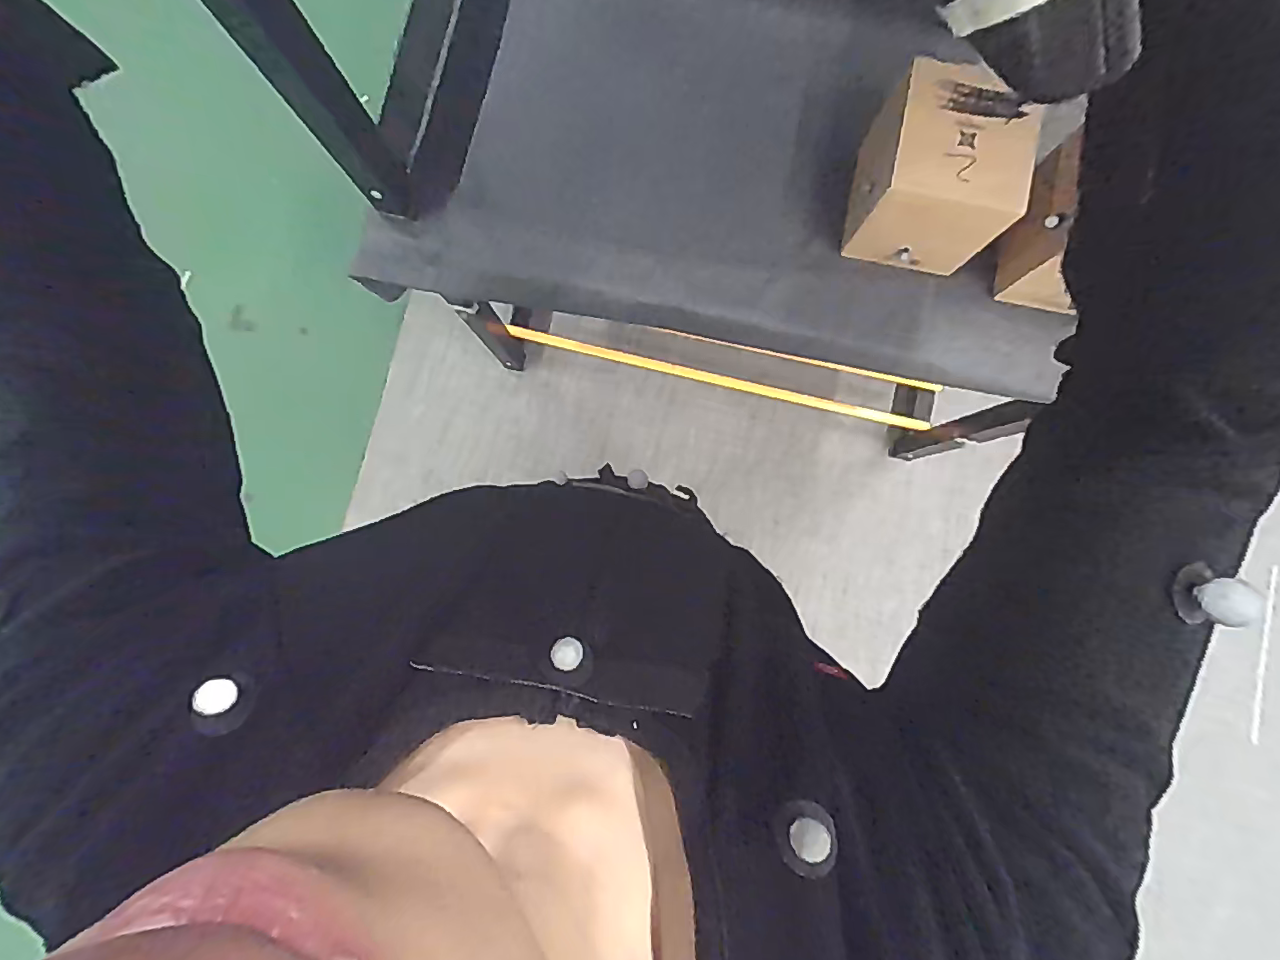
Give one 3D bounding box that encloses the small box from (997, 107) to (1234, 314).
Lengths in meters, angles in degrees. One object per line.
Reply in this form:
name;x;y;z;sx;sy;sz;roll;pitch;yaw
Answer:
small box;0.618;-0.345;0.726;0.168;0.176;0.179;12;84;1
